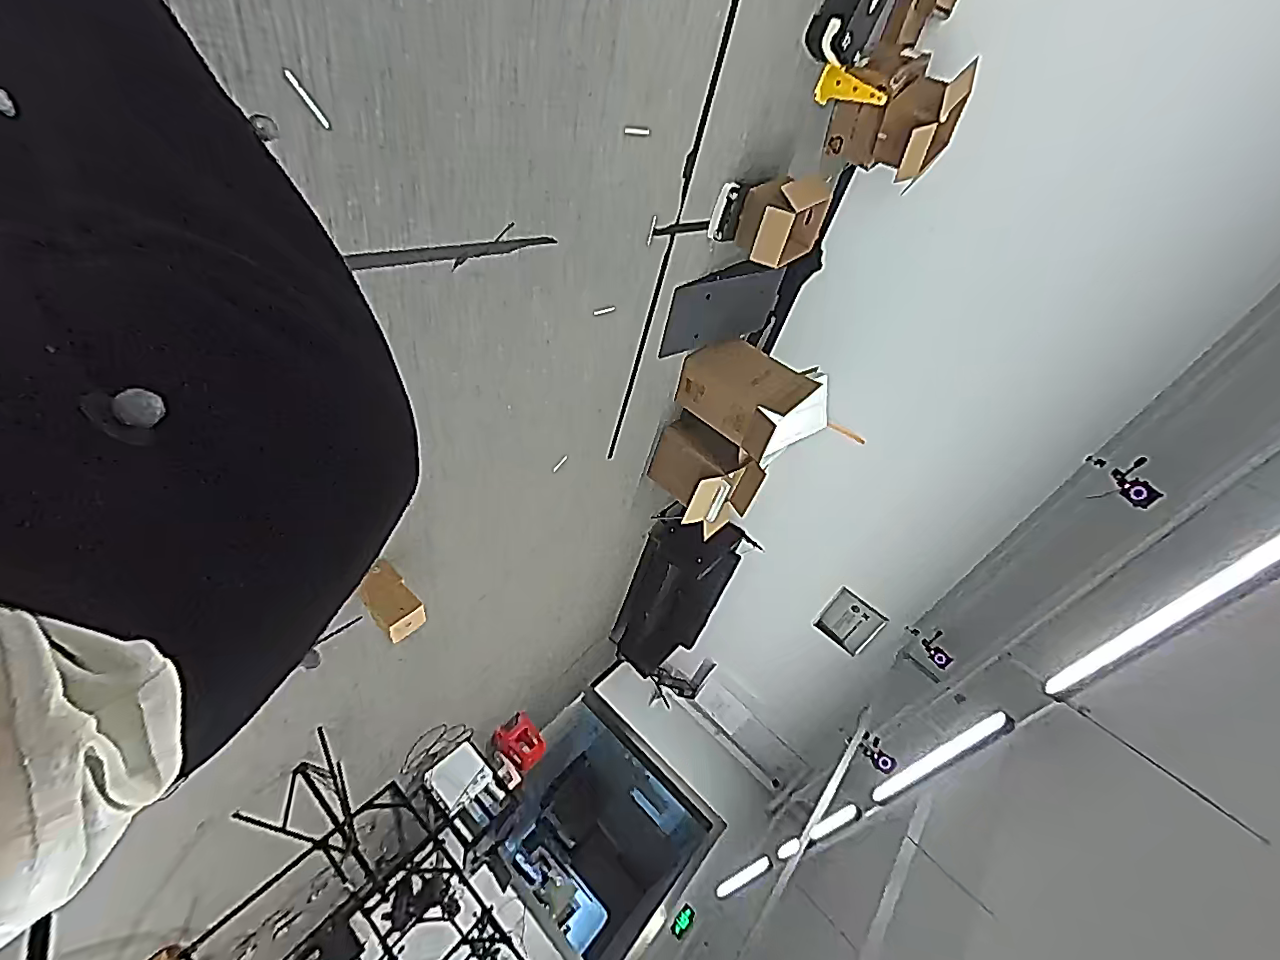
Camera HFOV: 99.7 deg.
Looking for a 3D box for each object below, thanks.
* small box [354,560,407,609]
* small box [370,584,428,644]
[{"bbox_3d":[-1.230,0.514,2.576,0.168,0.176,0.179,-35,153,-39],"label":"small box"},{"bbox_3d":[-1.118,0.616,2.512,0.179,0.176,0.168,-36,154,-38],"label":"small box"}]
